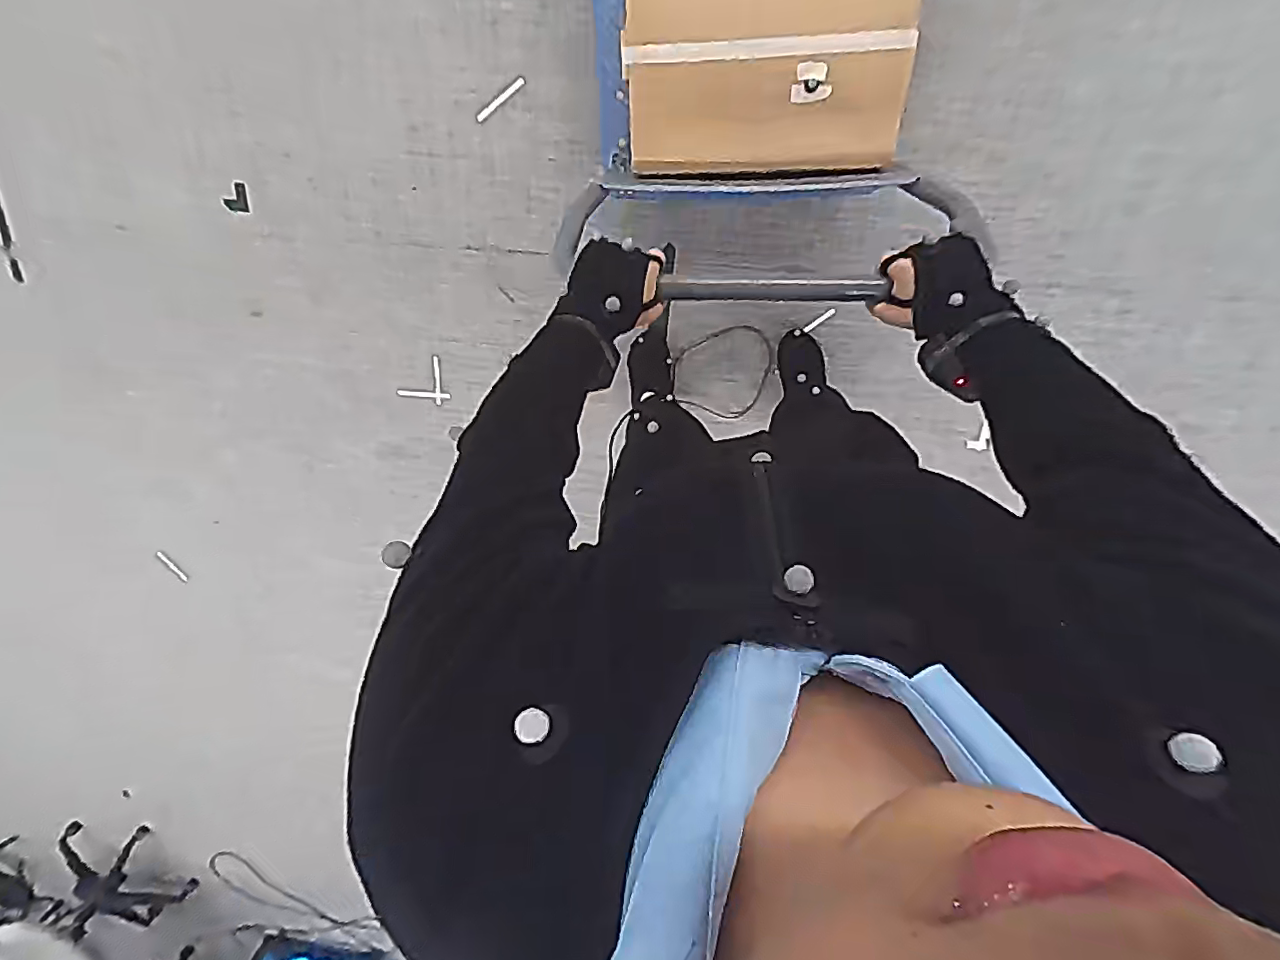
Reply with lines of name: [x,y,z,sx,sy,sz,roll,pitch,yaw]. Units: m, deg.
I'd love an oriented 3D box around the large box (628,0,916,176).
large box: [0.198,-0.710,0.909,0.408,0.320,0.320,1,124,6]
